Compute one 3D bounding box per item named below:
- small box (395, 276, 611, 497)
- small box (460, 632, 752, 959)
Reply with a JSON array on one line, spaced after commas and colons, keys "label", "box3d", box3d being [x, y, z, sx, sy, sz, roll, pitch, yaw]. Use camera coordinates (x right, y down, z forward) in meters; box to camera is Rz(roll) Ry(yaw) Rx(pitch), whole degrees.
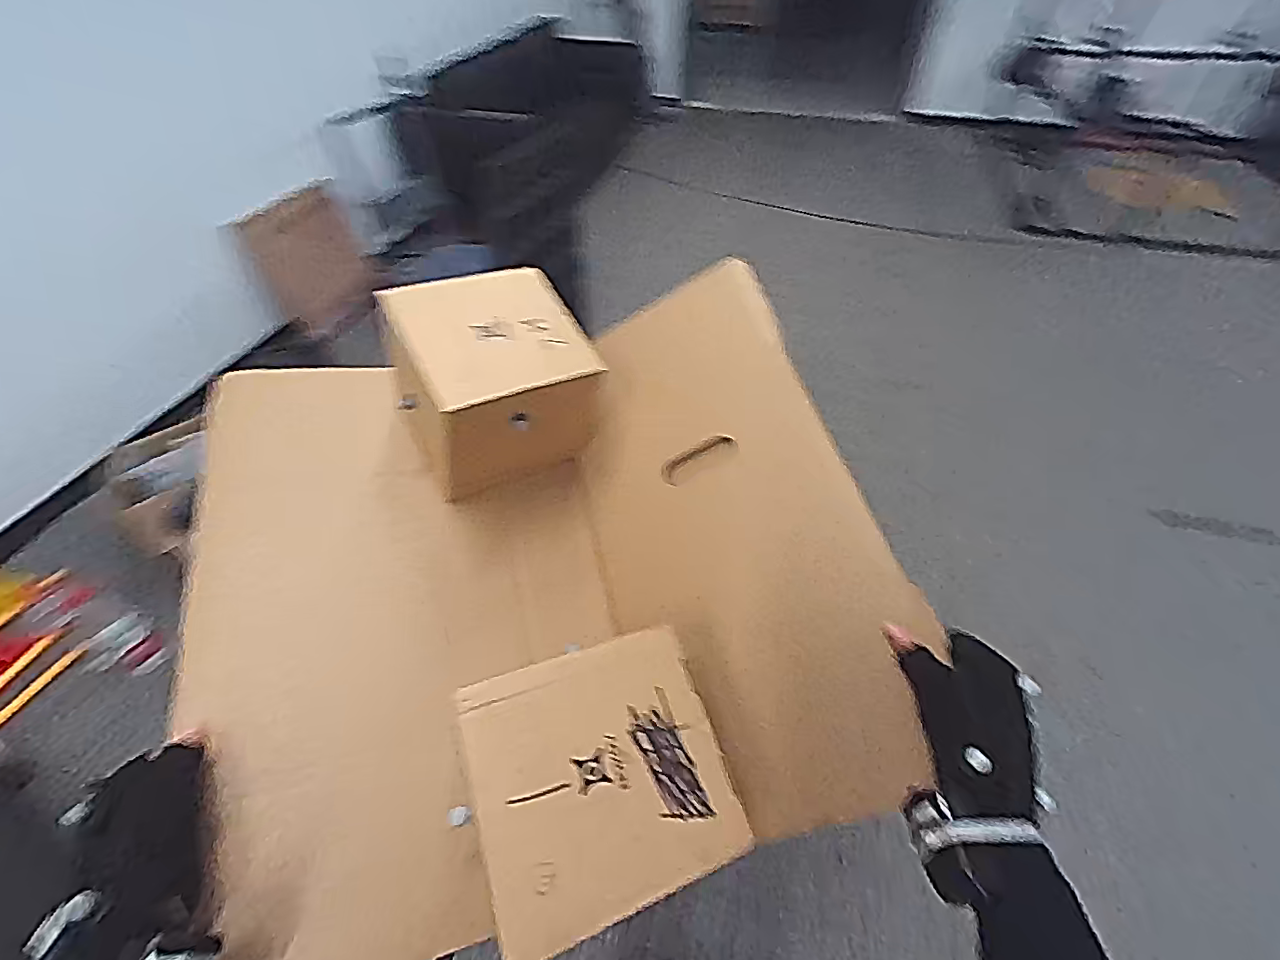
[{"label": "small box", "box3d": [-0.160, -0.104, 0.624, 0.179, 0.176, 0.168, -20, 67, -28]}, {"label": "small box", "box3d": [-0.044, 0.245, 0.443, 0.179, 0.176, 0.168, -10, 63, -22]}]
